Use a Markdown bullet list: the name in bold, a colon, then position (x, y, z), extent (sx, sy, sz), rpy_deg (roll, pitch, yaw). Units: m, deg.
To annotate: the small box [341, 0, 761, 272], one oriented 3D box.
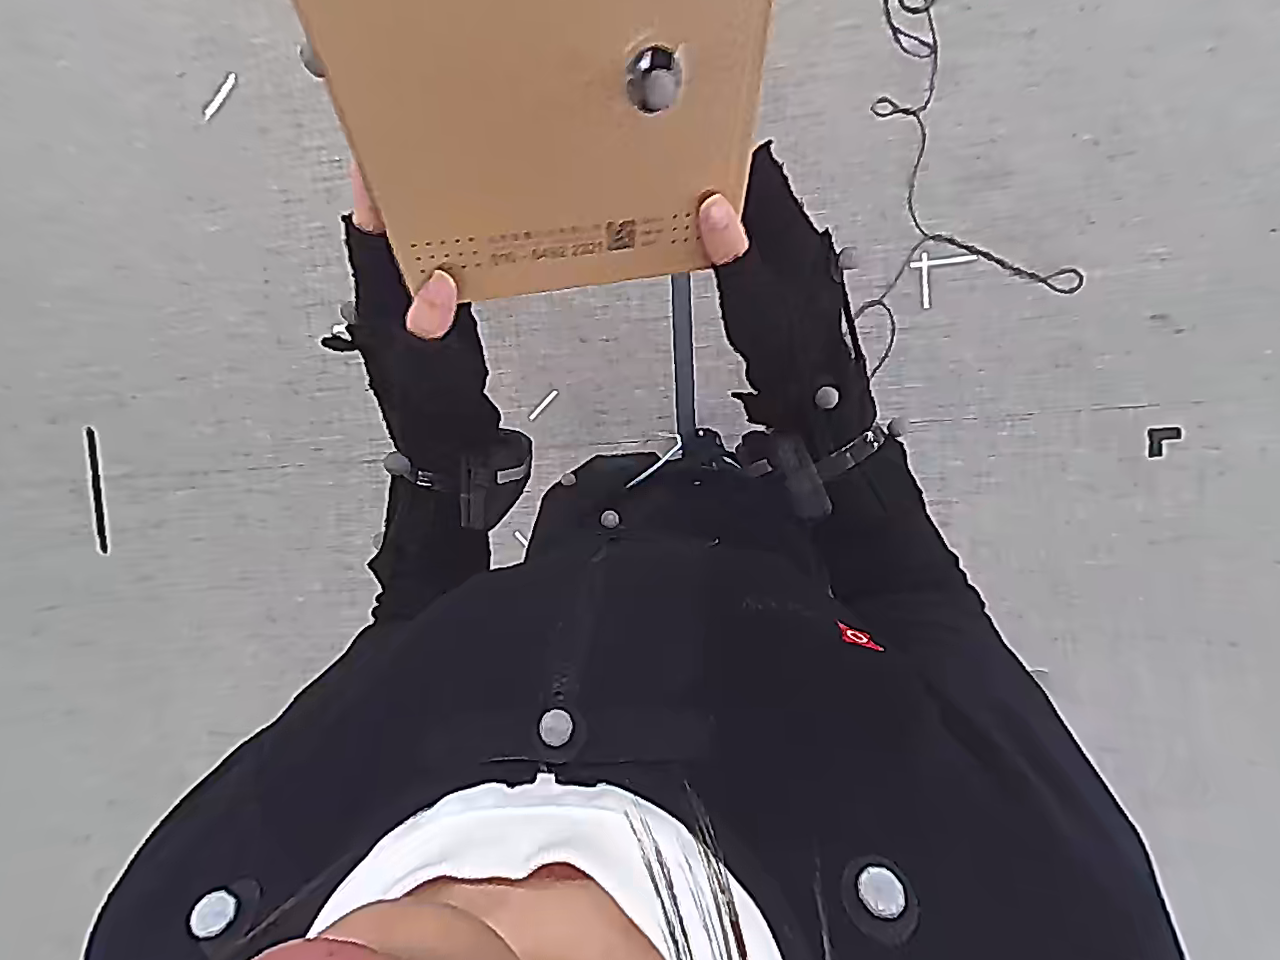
- **small box**: position (-0.045, -0.224, 0.275), extent (0.168, 0.176, 0.179), rpy_deg (-11, 55, -9)
